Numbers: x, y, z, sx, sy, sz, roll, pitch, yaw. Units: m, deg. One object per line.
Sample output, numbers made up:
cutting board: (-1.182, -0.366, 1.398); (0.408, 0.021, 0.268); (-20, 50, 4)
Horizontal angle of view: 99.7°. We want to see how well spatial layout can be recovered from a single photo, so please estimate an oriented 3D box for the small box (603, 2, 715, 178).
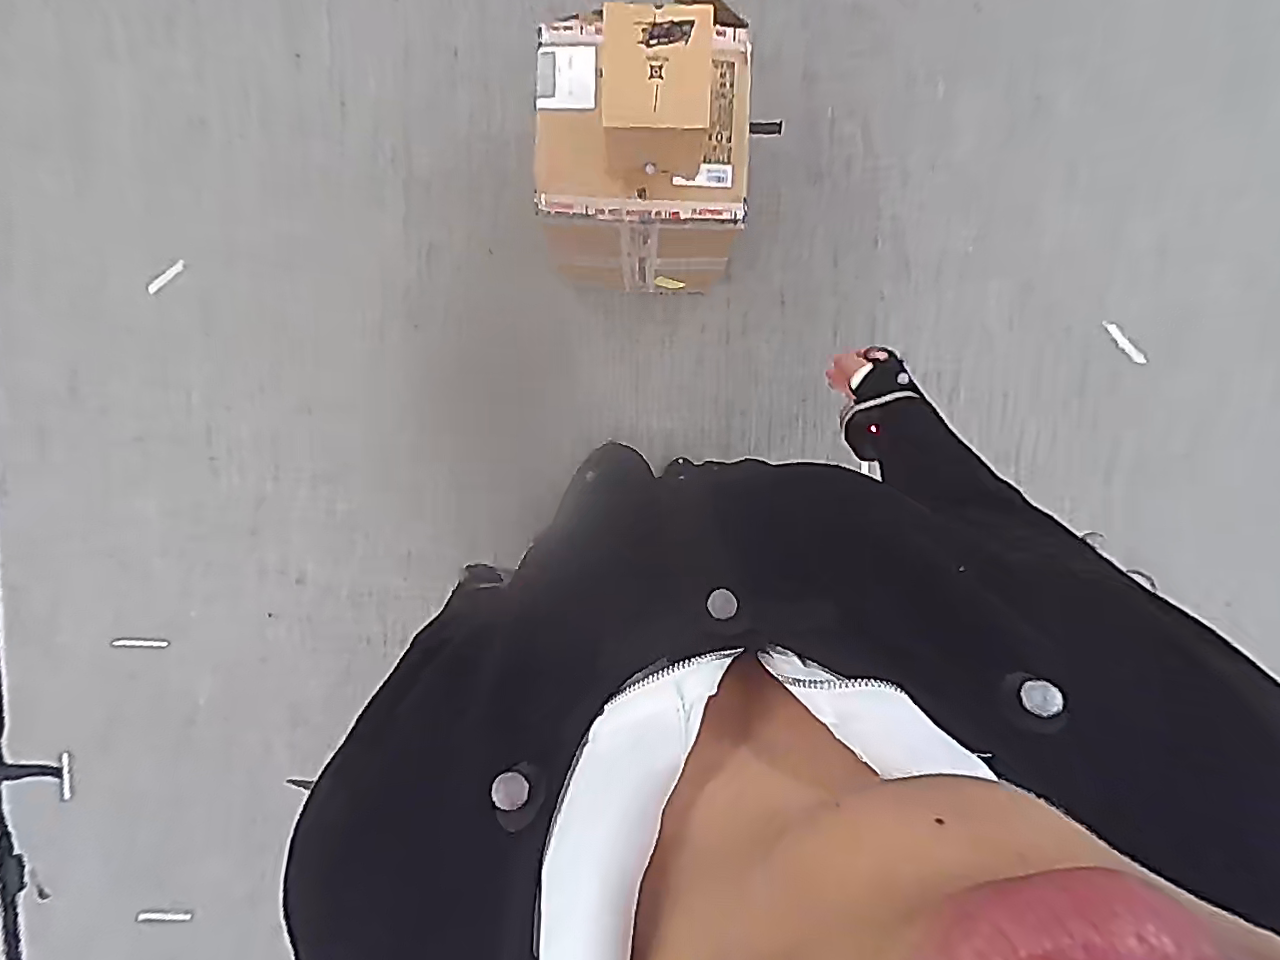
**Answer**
small box: (0.027, -0.629, 0.889); (0.168, 0.176, 0.179); (1, 97, 0)
